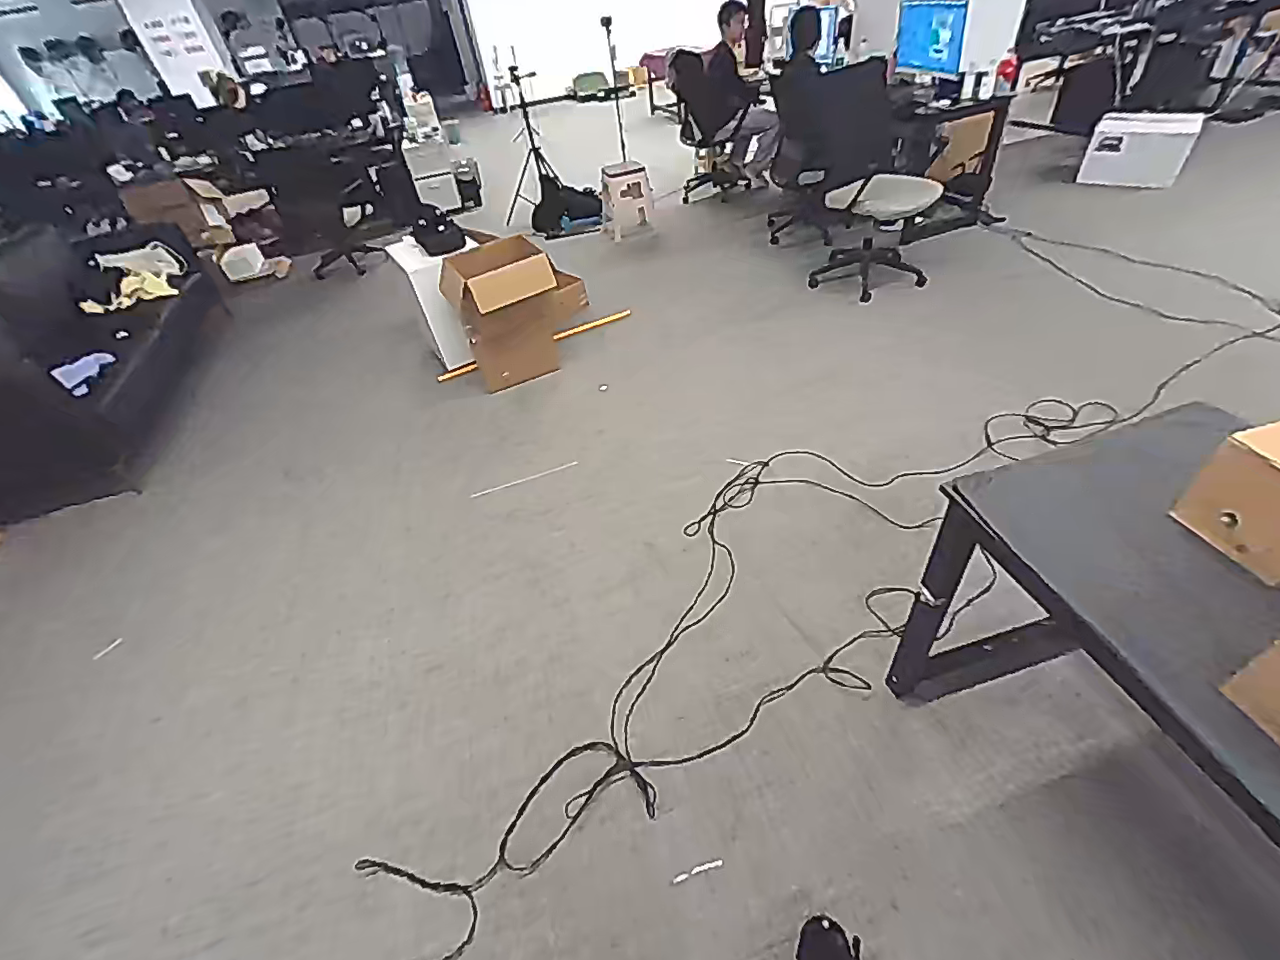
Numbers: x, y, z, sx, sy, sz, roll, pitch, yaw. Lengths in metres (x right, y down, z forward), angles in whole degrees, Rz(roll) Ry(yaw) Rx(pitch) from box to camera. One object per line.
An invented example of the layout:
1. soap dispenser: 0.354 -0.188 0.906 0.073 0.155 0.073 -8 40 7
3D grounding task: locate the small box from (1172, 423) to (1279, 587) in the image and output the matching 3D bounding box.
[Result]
1. small box: 0.968 0.031 0.799 0.179 0.176 0.168 -15 43 -5

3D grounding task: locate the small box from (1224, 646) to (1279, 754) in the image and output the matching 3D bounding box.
1. small box: 0.827 0.245 0.588 0.179 0.176 0.168 -13 42 -5
